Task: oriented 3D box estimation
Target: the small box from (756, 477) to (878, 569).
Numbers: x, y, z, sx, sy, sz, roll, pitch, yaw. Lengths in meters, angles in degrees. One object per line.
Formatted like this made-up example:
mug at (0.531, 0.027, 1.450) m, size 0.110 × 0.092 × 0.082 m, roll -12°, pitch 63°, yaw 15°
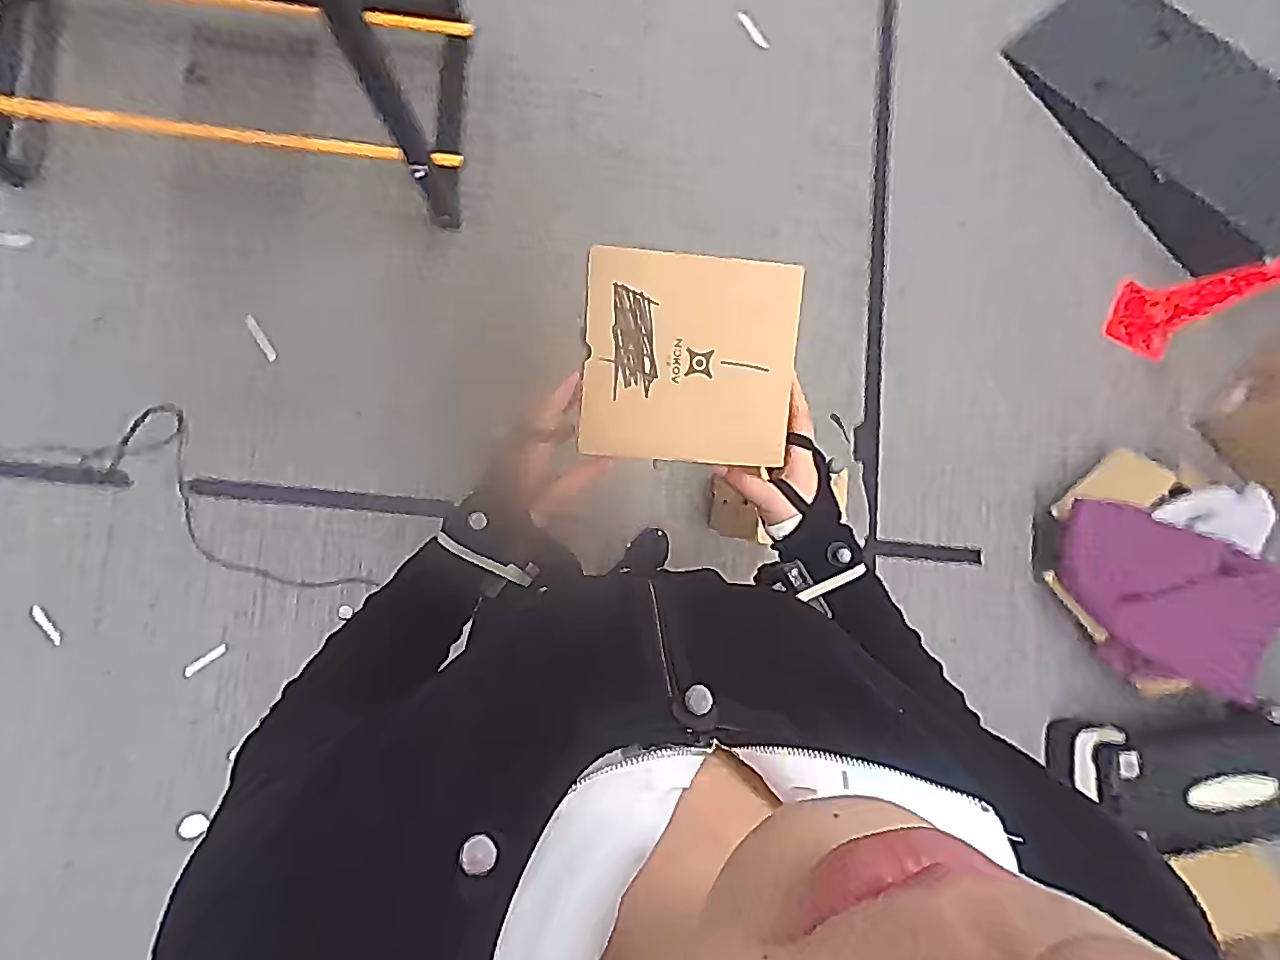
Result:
small box at (0.332, 0.077, 1.045) m, size 0.179 × 0.176 × 0.168 m, roll 5°, pitch 86°, yaw -4°

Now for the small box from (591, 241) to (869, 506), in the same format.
small box at (0.053, -0.077, 0.433) m, size 0.179 × 0.176 × 0.168 m, roll 2°, pitch 98°, yaw -5°

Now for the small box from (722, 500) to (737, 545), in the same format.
small box at (0.318, 0.088, 1.374) m, size 0.179 × 0.176 × 0.168 m, roll 4°, pitch 86°, yaw -3°

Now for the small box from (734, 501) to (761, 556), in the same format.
small box at (0.321, 0.087, 1.208) m, size 0.179 × 0.176 × 0.168 m, roll 5°, pitch 86°, yaw -4°
